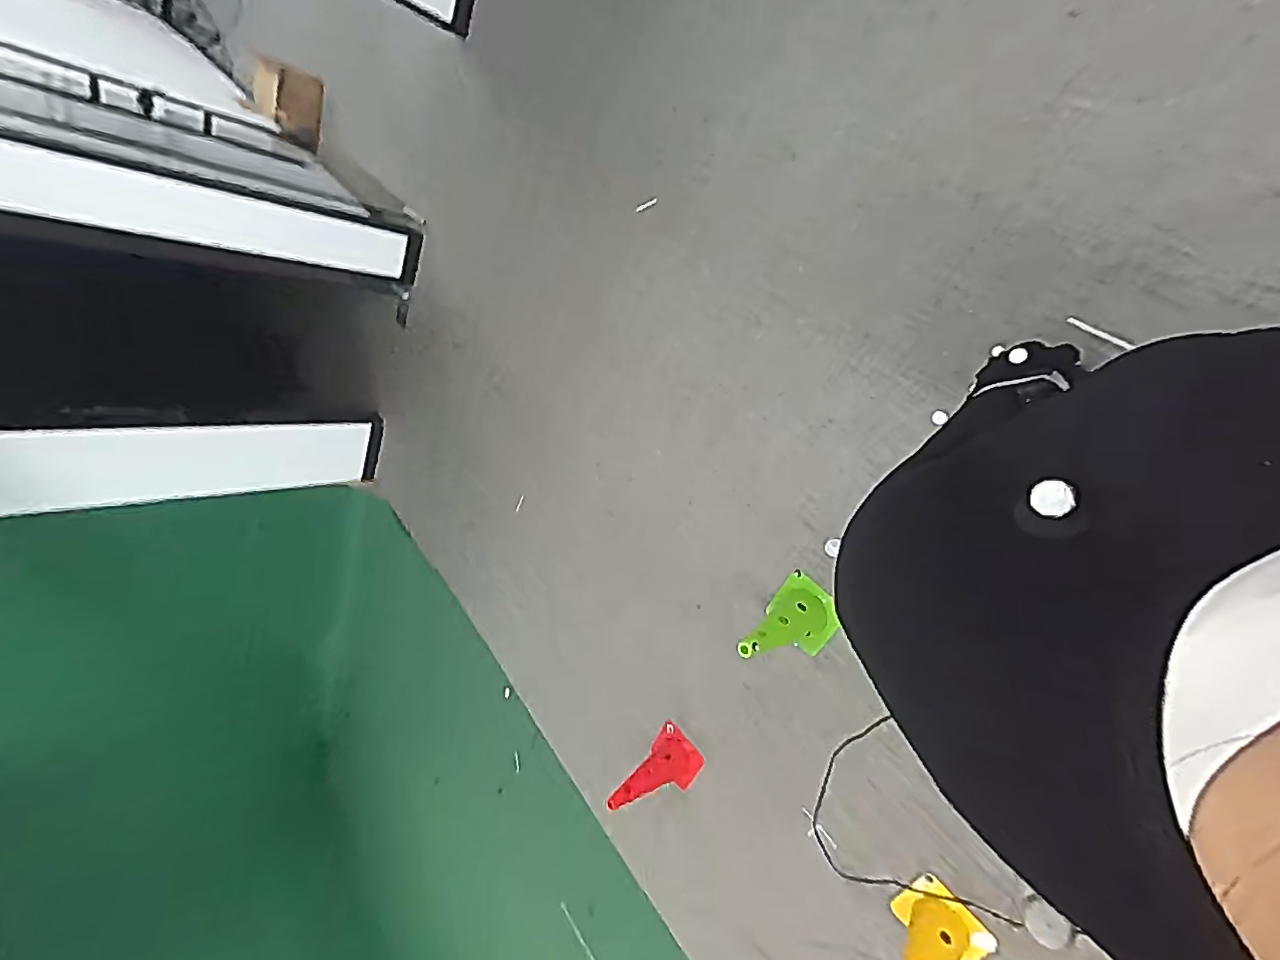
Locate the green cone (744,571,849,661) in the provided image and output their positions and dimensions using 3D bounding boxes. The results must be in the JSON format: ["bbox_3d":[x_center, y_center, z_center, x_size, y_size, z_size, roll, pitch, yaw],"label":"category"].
[{"bbox_3d":[0.395,0.422,1.516,0.202,0.368,0.200,42,122,29],"label":"green cone"}]

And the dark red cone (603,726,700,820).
[{"bbox_3d":[0.019,1.070,1.913,0.202,0.394,0.201,39,121,32],"label":"dark red cone"}]
